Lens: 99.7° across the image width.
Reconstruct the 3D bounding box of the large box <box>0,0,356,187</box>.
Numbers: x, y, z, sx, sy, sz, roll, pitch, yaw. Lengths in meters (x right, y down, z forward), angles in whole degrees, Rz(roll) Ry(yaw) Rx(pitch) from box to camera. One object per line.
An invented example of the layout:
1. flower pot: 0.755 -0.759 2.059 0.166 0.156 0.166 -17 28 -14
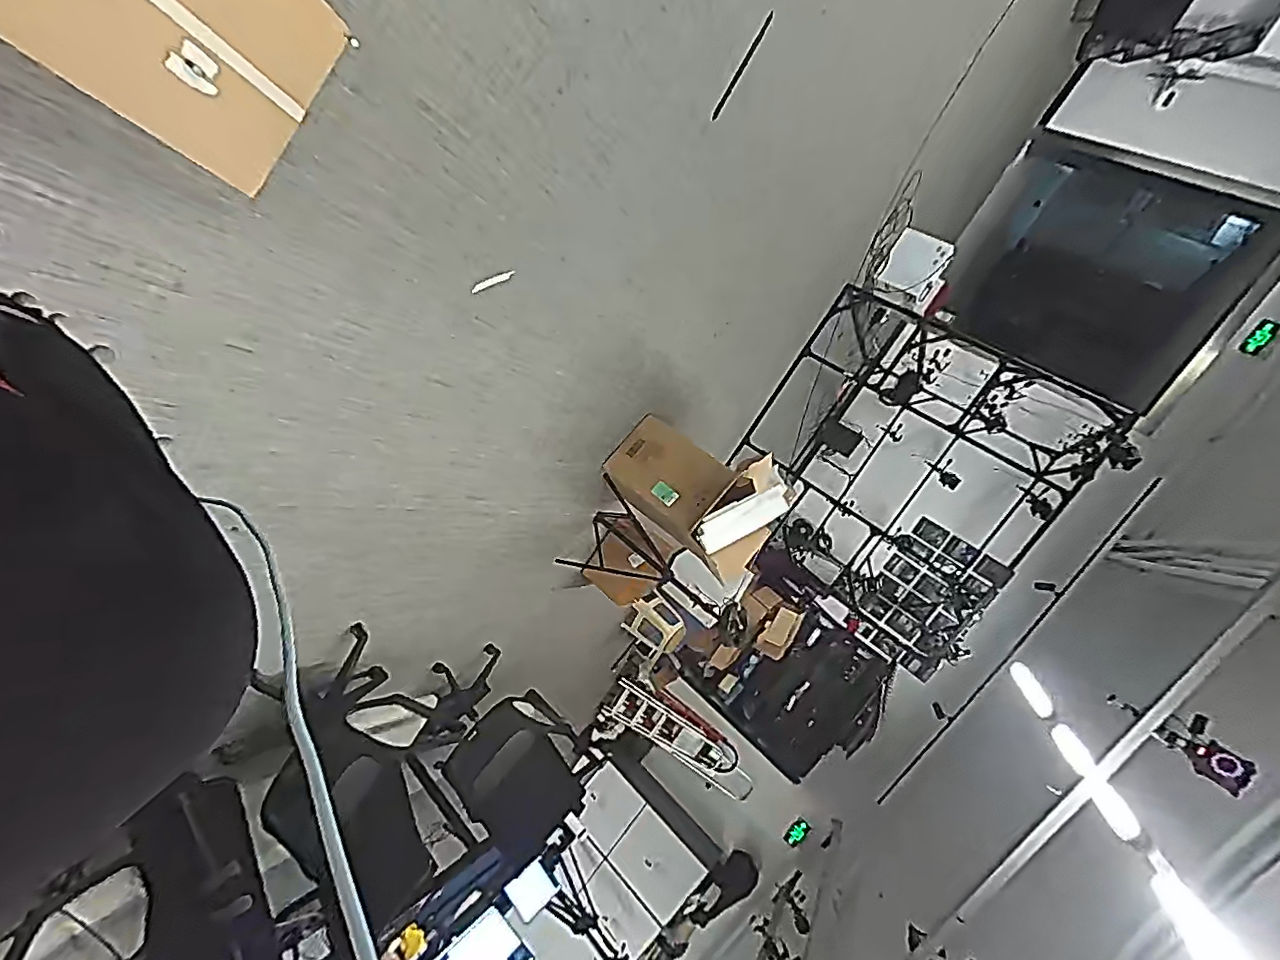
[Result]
1. large box: -0.708 -0.704 0.730 0.320 0.320 0.408 -54 158 4
